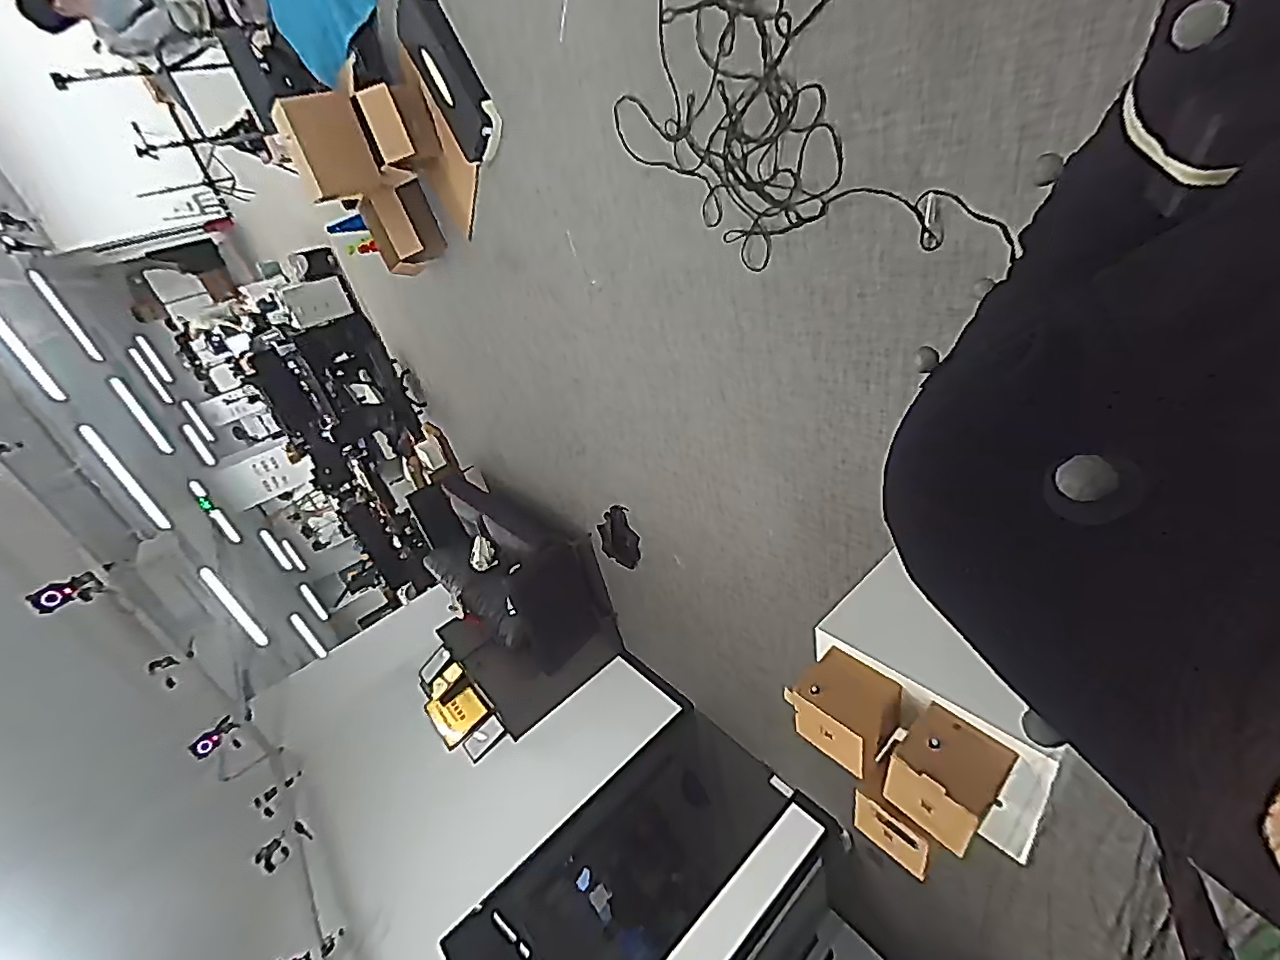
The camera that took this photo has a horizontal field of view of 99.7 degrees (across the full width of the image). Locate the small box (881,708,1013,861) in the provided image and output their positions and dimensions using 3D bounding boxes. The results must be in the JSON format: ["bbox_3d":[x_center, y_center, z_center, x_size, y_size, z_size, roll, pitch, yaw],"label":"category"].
[{"bbox_3d":[0.614,0.601,1.085,0.168,0.176,0.179,30,143,44],"label":"small box"}]
